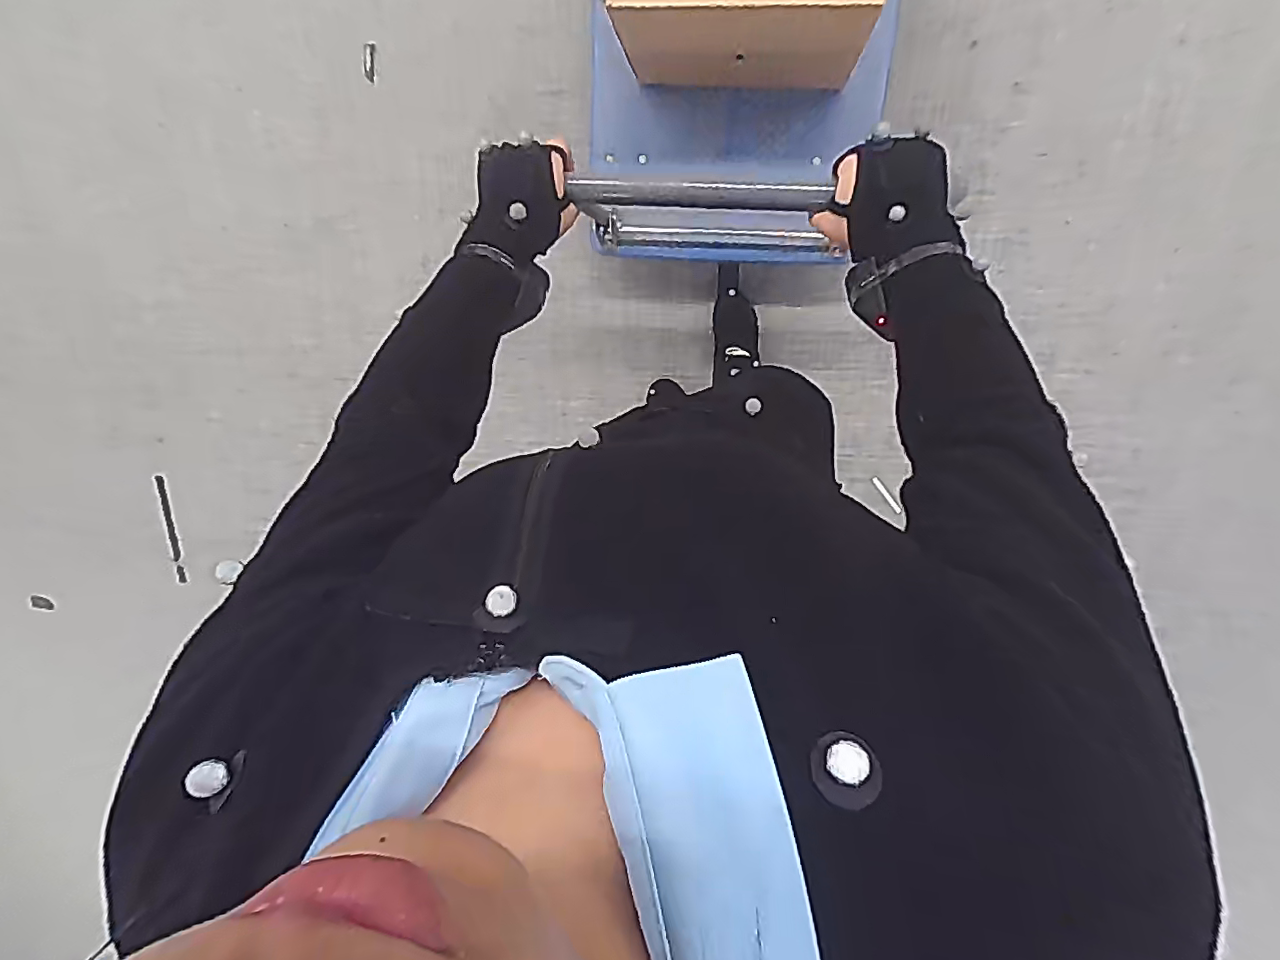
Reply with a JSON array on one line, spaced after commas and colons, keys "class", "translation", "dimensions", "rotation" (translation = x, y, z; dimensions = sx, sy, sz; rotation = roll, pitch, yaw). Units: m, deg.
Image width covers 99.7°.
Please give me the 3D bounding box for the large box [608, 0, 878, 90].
[{"class": "large box", "translation": [0.180, -0.882, 0.900], "dimensions": [0.408, 0.320, 0.320], "rotation": [6, 107, 9]}]
